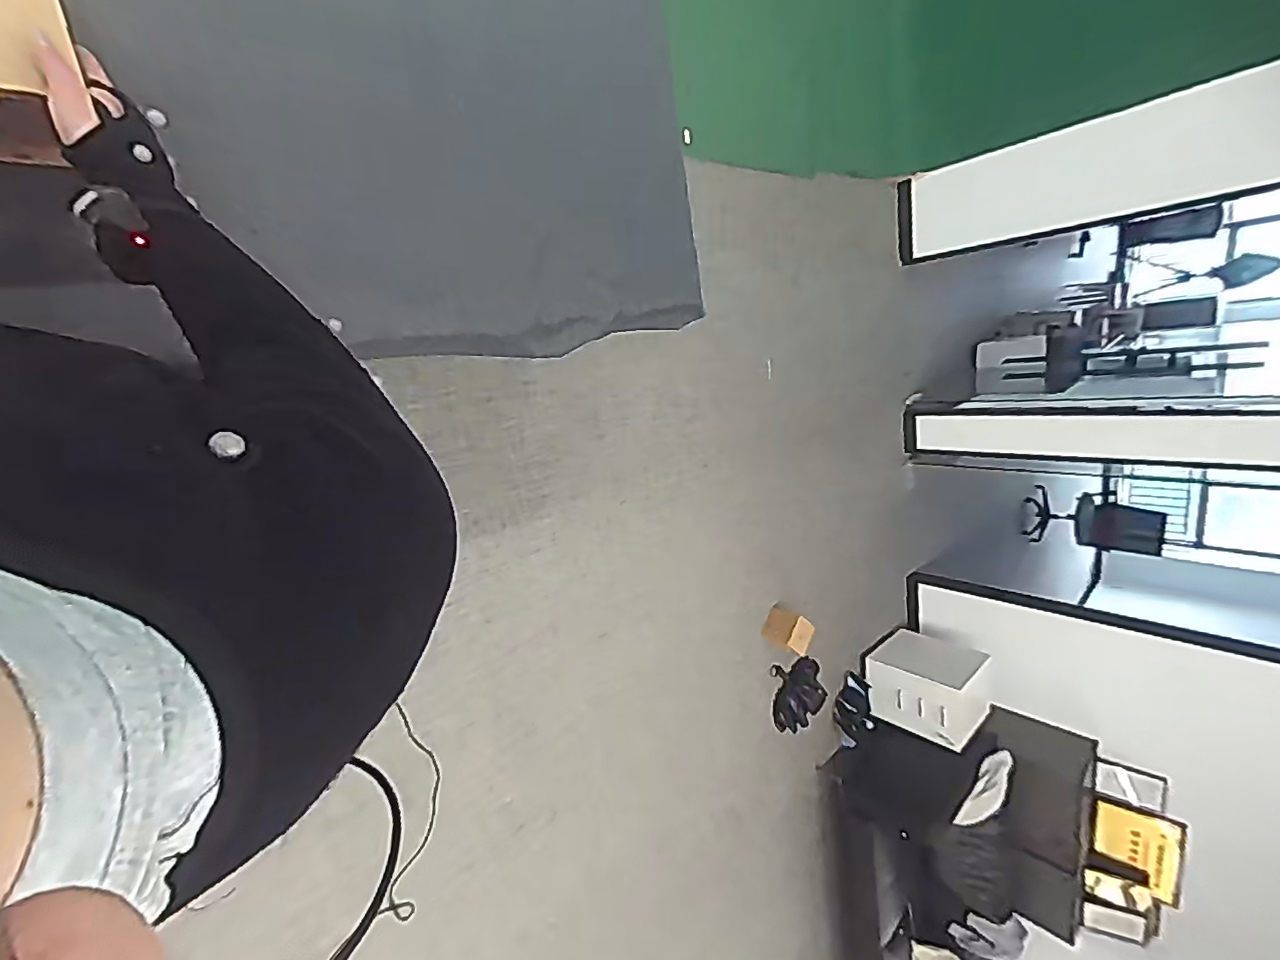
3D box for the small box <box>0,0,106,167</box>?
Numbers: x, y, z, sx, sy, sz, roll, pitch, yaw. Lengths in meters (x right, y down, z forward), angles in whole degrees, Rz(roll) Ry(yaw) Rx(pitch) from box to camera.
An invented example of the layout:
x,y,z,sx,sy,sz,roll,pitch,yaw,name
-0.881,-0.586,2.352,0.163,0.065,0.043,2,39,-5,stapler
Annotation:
x,y,z,sx,sy,sz,roll,pitch,yaw,name
-0.603,-0.397,0.469,0.168,0.176,0.179,-19,108,-40,small box
